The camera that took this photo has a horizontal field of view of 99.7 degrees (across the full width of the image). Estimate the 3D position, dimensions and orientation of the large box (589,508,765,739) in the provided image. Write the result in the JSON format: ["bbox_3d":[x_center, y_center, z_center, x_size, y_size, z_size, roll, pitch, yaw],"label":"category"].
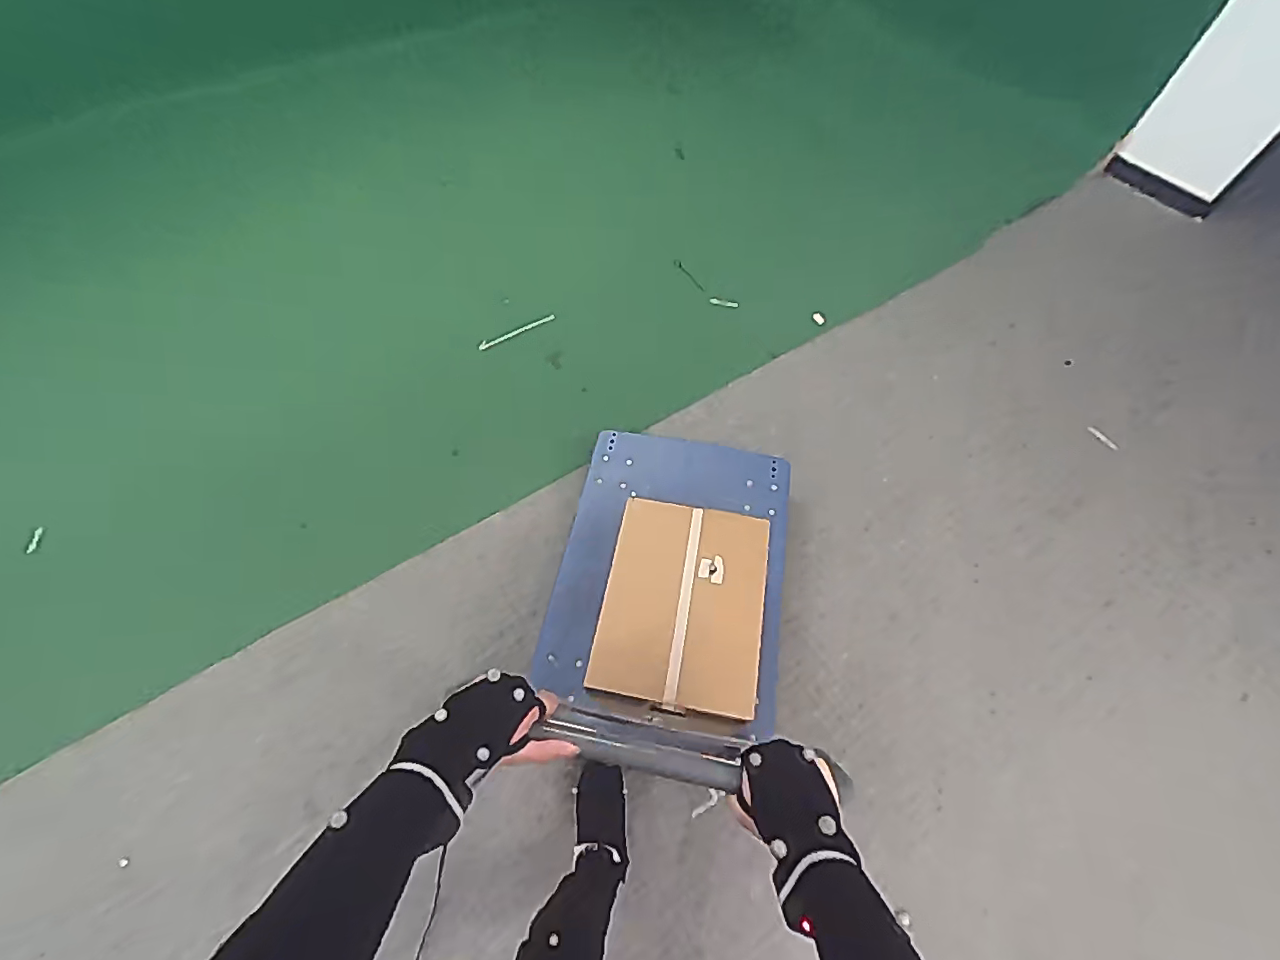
[{"bbox_3d":[0.087,0.328,1.218,0.320,0.320,0.408,10,59,5],"label":"large box"}]
